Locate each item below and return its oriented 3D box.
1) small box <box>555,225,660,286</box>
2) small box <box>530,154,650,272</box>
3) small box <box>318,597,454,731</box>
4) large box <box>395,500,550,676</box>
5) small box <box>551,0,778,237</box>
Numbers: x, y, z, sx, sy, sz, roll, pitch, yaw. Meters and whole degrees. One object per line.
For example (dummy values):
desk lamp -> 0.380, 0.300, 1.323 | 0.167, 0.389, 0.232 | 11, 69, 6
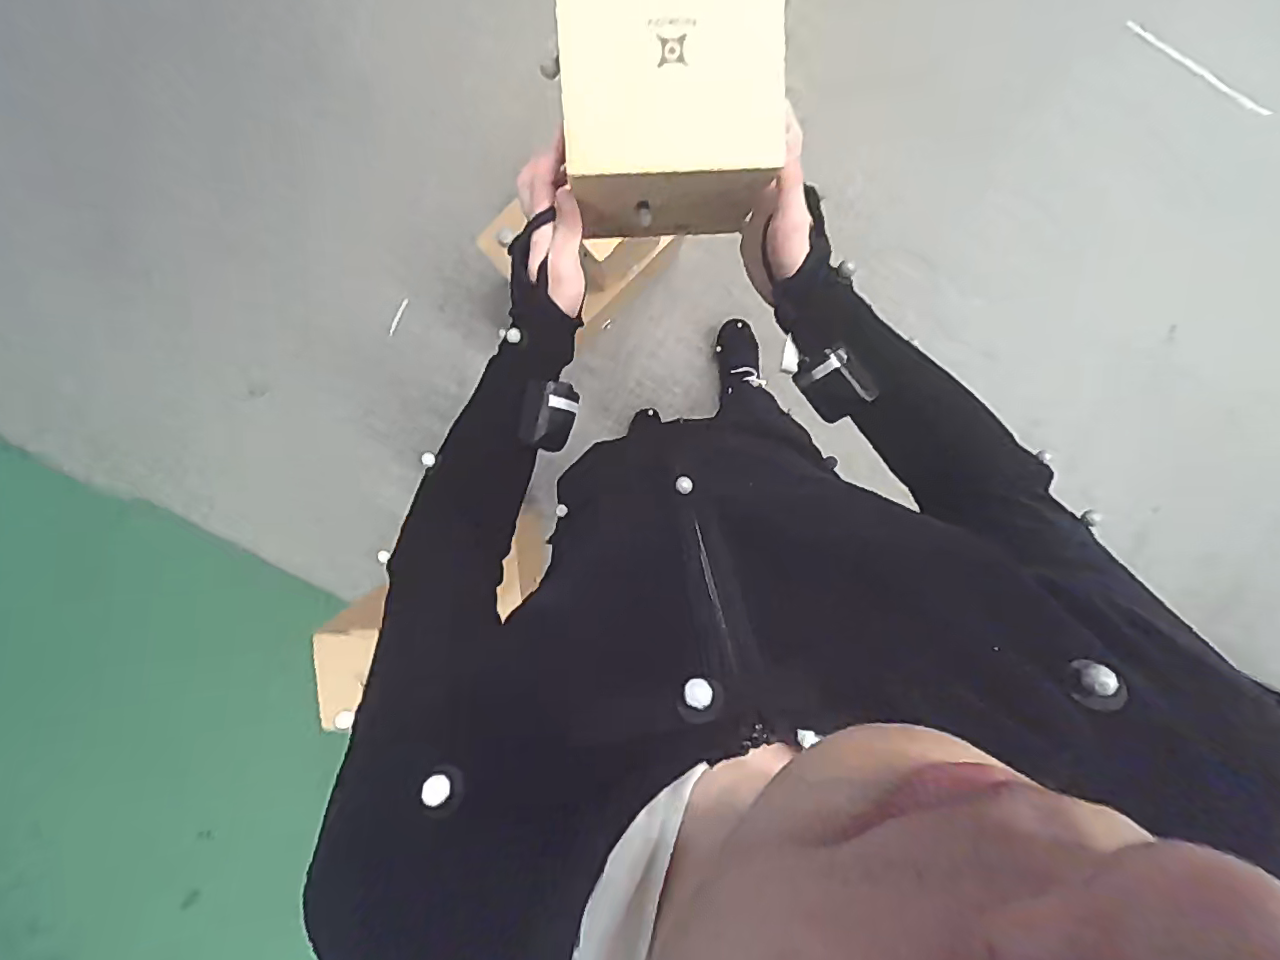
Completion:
small box -> -0.073, -0.540, 1.150 | 0.168, 0.176, 0.179 | -40, 99, 7
small box -> -0.070, -0.506, 0.991 | 0.168, 0.176, 0.179 | -42, 97, 6
small box -> -0.441, 0.317, 0.961 | 0.168, 0.176, 0.179 | 1, 98, 0
large box -> -0.450, 0.291, 1.539 | 0.320, 0.320, 0.408 | -4, 101, 2
small box -> 0.017, -0.322, 0.469 | 0.168, 0.176, 0.179 | -3, 97, -2
